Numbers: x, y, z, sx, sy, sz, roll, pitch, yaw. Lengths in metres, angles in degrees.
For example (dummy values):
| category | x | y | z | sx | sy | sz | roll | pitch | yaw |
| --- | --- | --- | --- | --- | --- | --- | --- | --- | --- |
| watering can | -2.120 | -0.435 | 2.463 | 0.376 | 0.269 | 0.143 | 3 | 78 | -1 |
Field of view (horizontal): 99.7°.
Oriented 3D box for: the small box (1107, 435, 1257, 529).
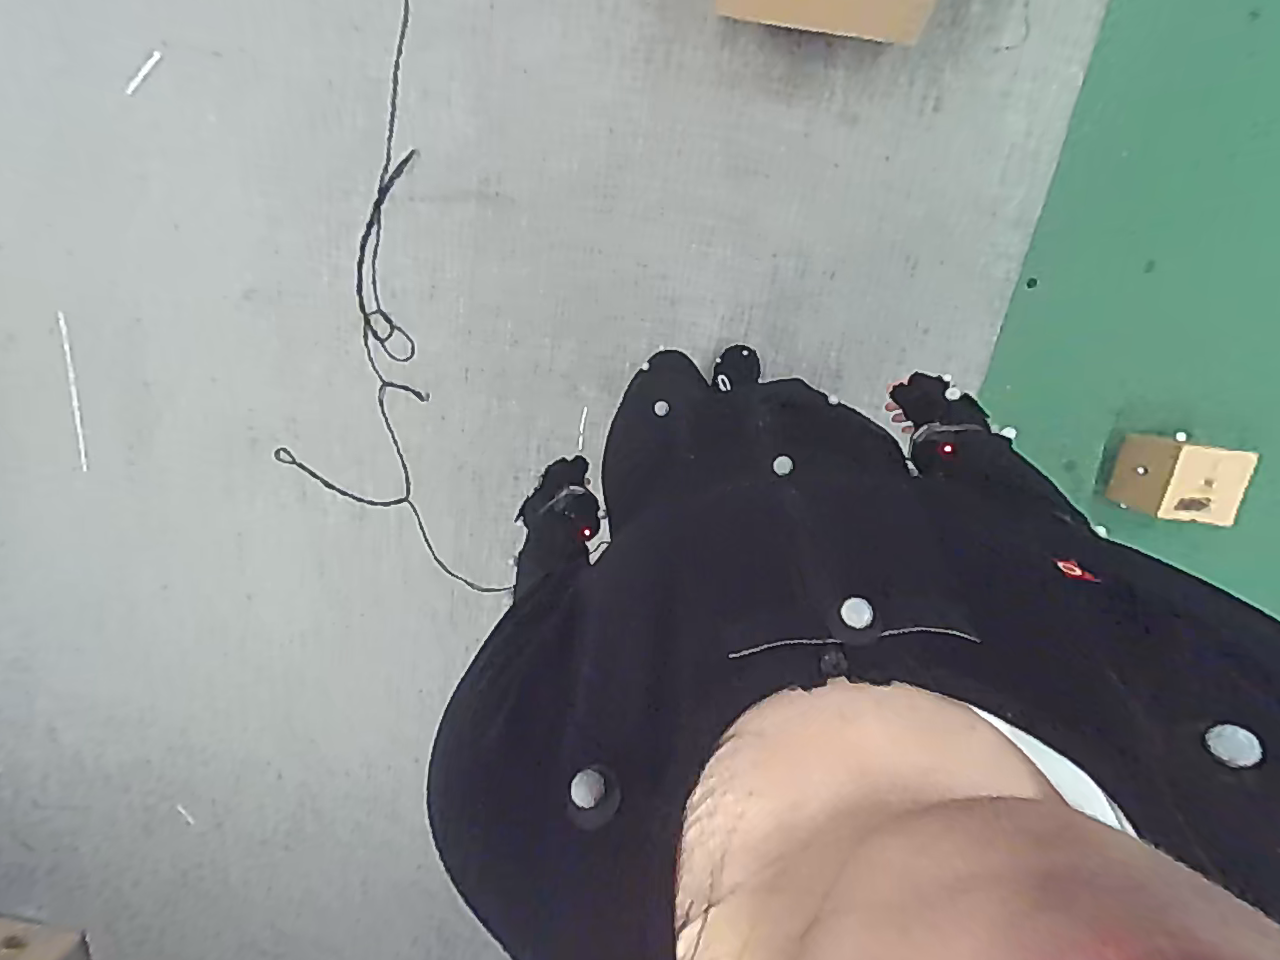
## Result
| category | x | y | z | sx | sy | sz | roll | pitch | yaw |
| --- | --- | --- | --- | --- | --- | --- | --- | --- | --- |
| small box | 1.286 | 0.000 | 1.301 | 0.168 | 0.176 | 0.179 | 8 | 104 | 3 |
